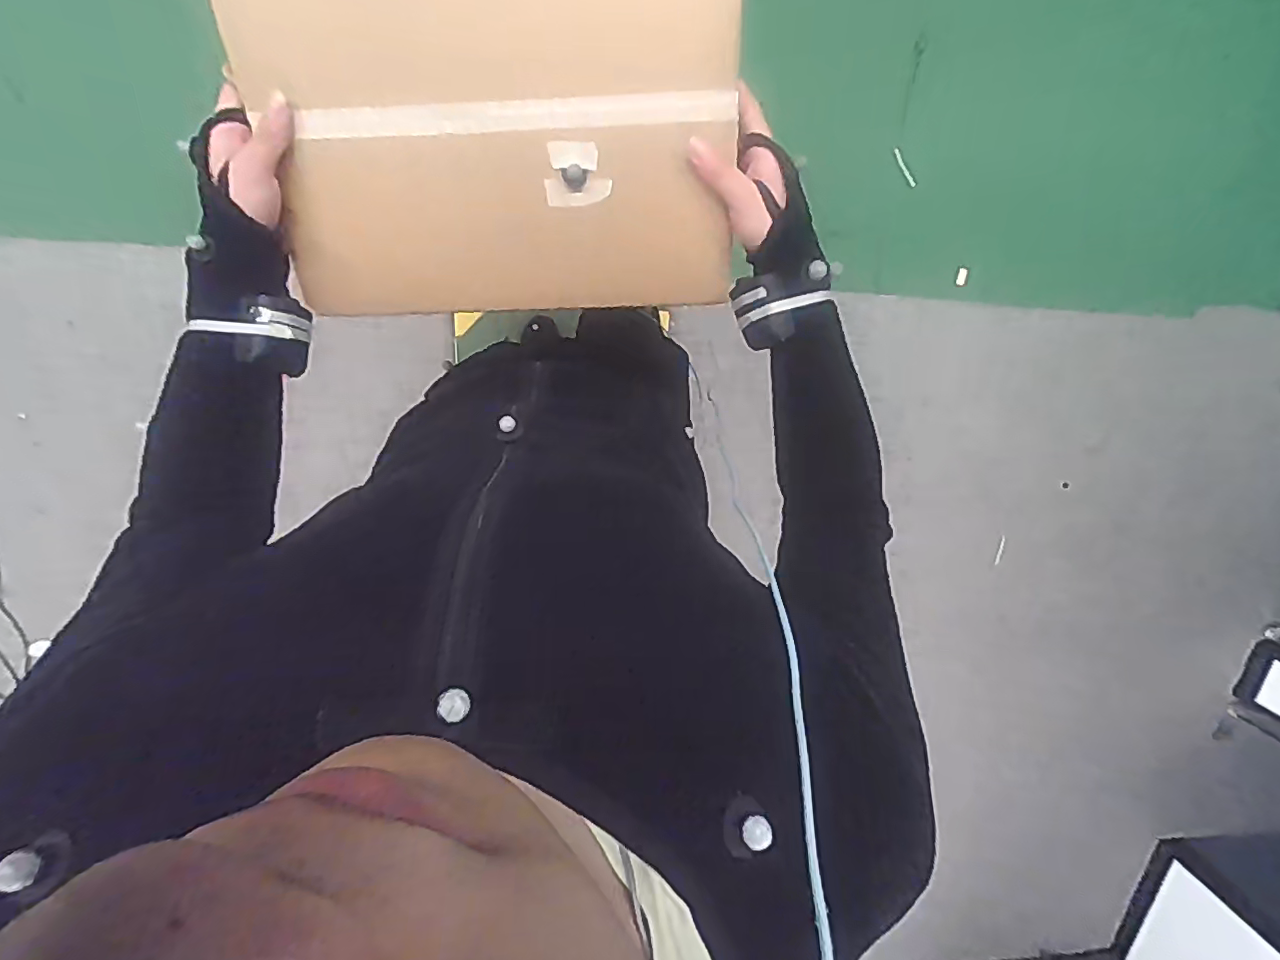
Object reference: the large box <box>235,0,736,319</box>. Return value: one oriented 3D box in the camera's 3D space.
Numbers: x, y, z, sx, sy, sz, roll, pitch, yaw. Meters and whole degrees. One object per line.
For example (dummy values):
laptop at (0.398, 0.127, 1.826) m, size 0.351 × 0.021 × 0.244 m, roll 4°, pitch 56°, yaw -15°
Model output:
large box at (-0.121, -0.372, 0.597) m, size 0.408 × 0.320 × 0.320 m, roll -2°, pitch 118°, yaw 1°
